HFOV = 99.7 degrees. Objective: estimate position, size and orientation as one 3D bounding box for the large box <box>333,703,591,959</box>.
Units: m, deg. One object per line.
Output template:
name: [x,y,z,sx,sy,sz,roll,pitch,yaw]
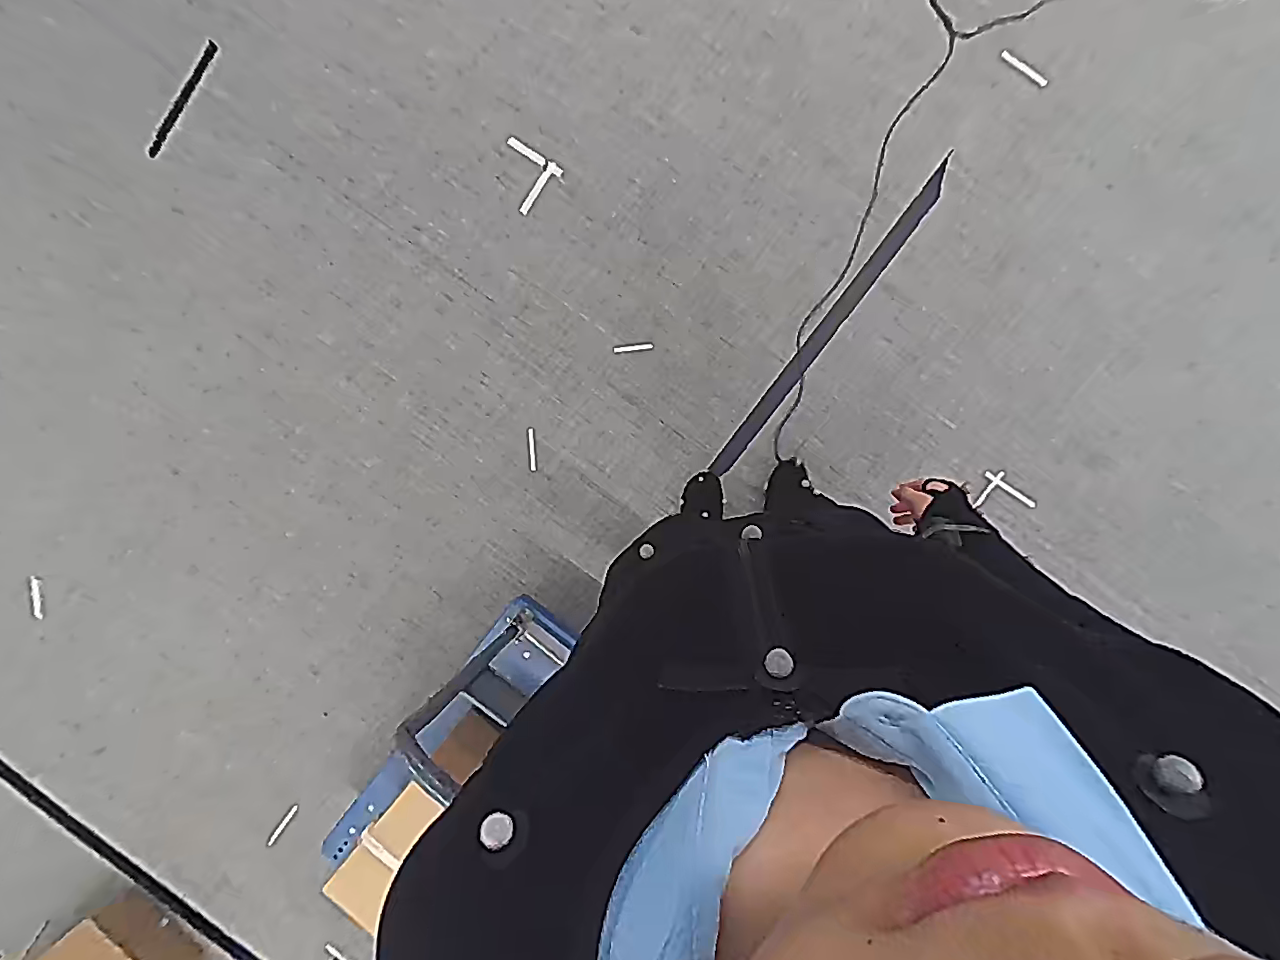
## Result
large box: [-0.376,0.807,1.239,0.408,0.320,0.320,40,94,1]
